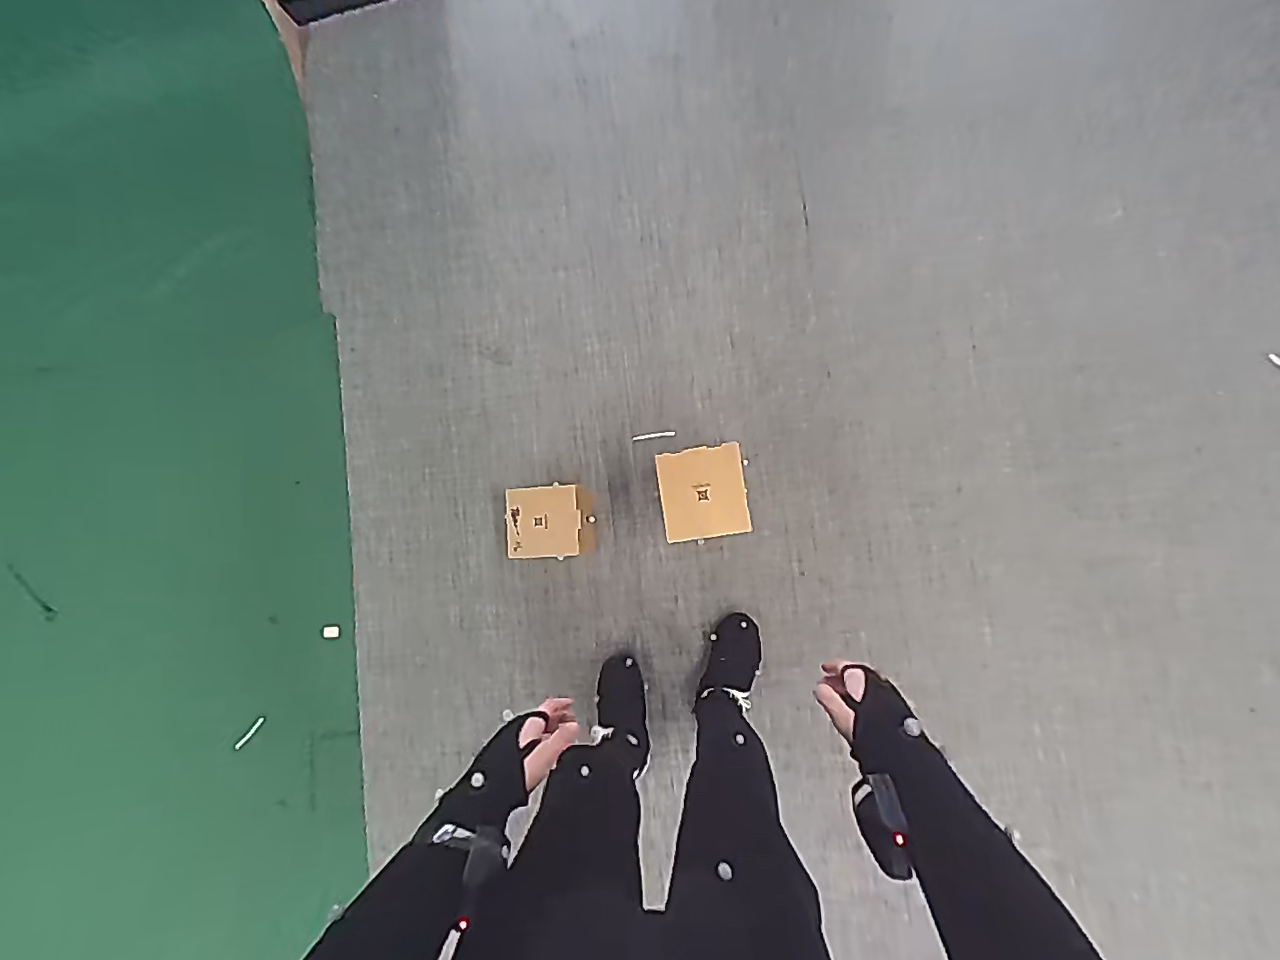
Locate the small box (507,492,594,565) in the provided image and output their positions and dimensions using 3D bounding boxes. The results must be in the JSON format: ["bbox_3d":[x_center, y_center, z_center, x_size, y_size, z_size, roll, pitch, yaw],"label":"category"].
[{"bbox_3d":[-0.212,0.118,1.330,0.179,0.176,0.168,-5,84,8],"label":"small box"}]

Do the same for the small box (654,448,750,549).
[{"bbox_3d":[0.132,0.040,1.116,0.168,0.176,0.179,-10,84,8],"label":"small box"}]
